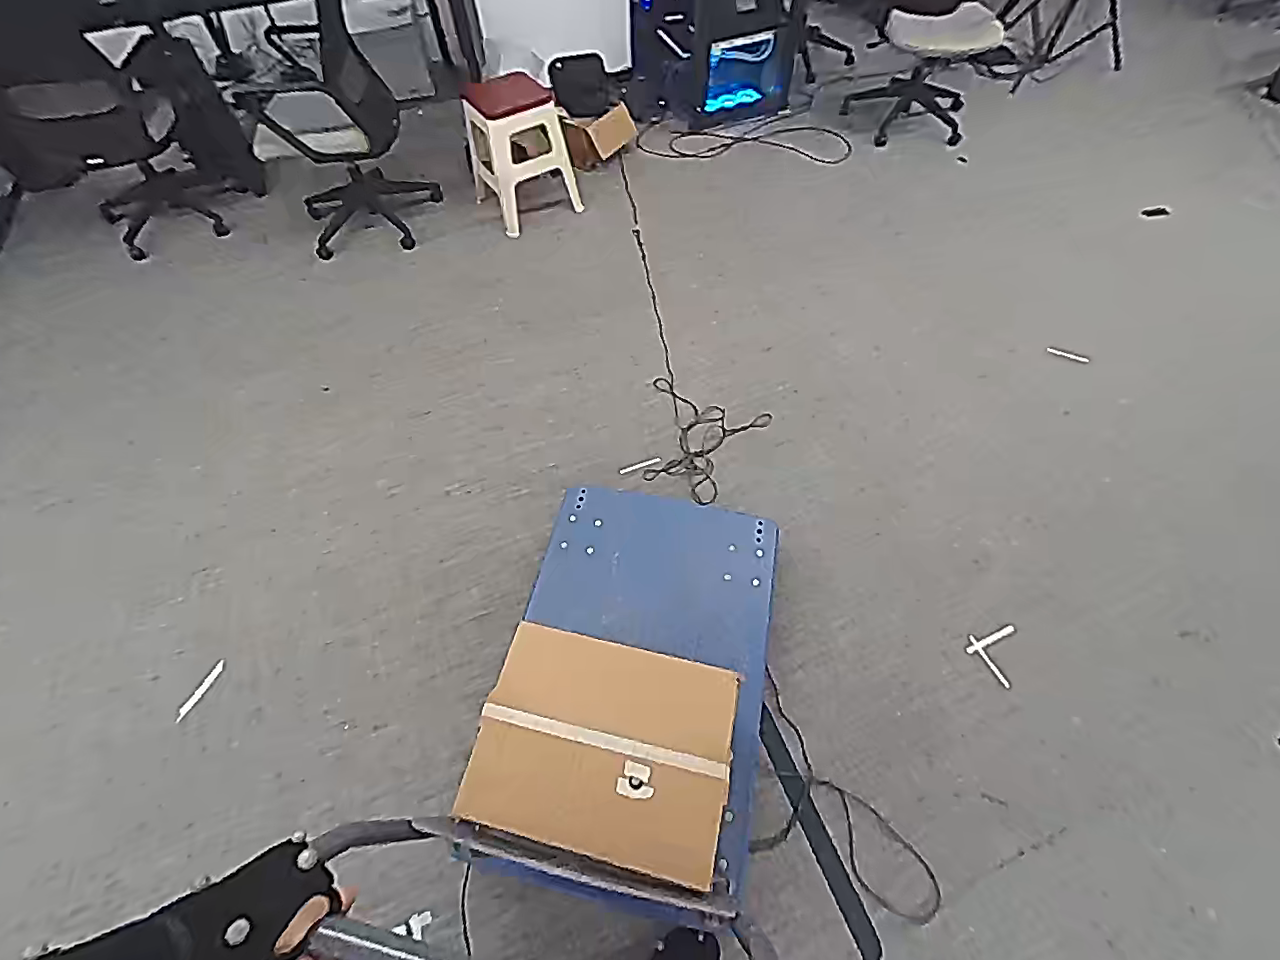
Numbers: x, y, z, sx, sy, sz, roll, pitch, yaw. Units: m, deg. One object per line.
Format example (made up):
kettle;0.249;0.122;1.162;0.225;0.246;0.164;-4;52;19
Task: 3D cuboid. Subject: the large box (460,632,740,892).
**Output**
large box;-0.052;0.514;1.005;0.408;0.320;0.320;11;59;8
